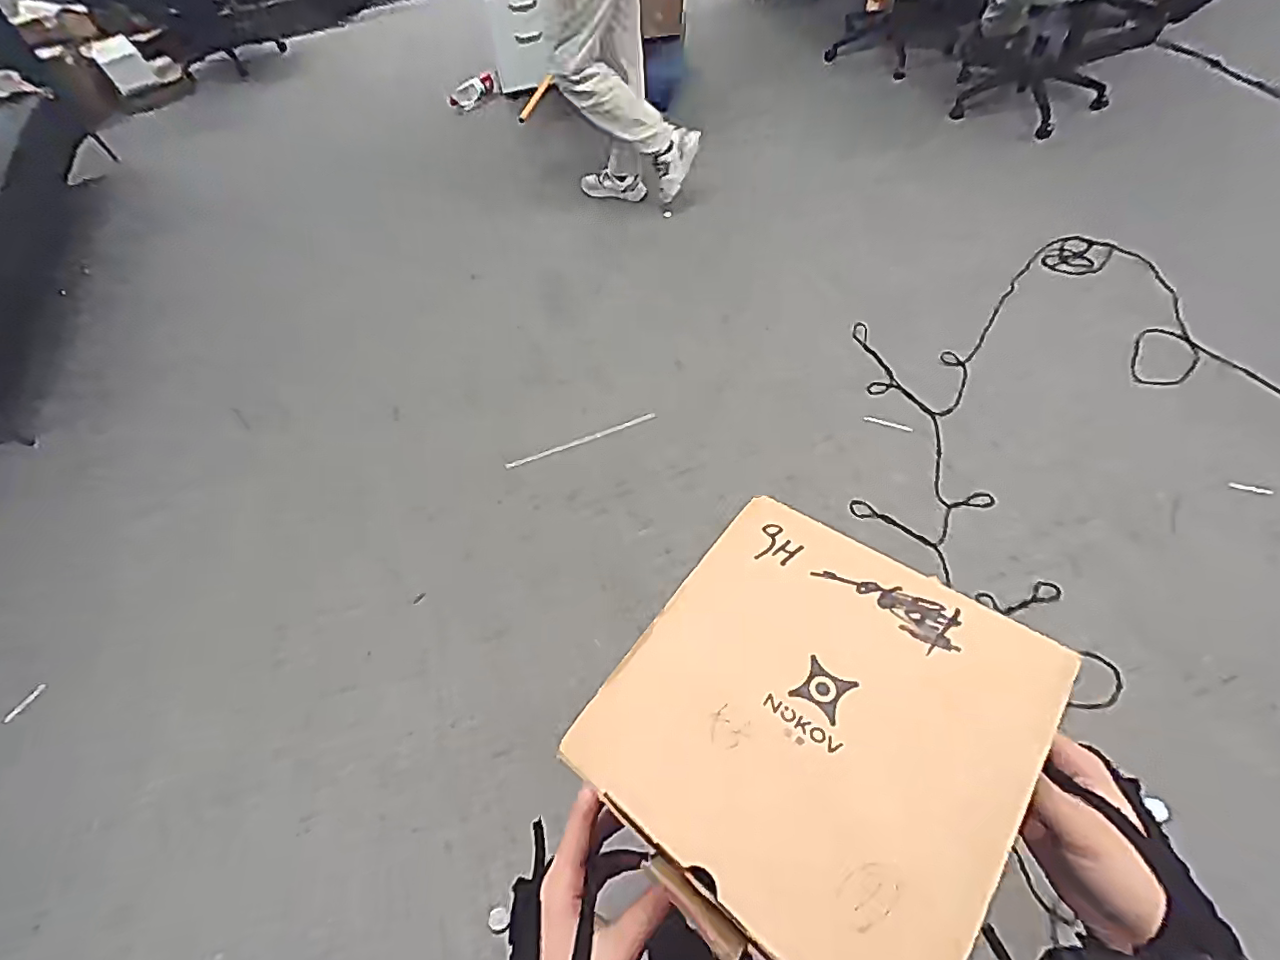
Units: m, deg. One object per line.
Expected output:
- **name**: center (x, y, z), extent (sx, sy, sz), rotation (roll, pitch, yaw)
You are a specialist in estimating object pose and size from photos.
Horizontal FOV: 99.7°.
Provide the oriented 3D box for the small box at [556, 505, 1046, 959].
- **small box**: center (0.086, 0.154, 0.316), extent (0.168, 0.176, 0.179), rotation (29, 64, 29)
